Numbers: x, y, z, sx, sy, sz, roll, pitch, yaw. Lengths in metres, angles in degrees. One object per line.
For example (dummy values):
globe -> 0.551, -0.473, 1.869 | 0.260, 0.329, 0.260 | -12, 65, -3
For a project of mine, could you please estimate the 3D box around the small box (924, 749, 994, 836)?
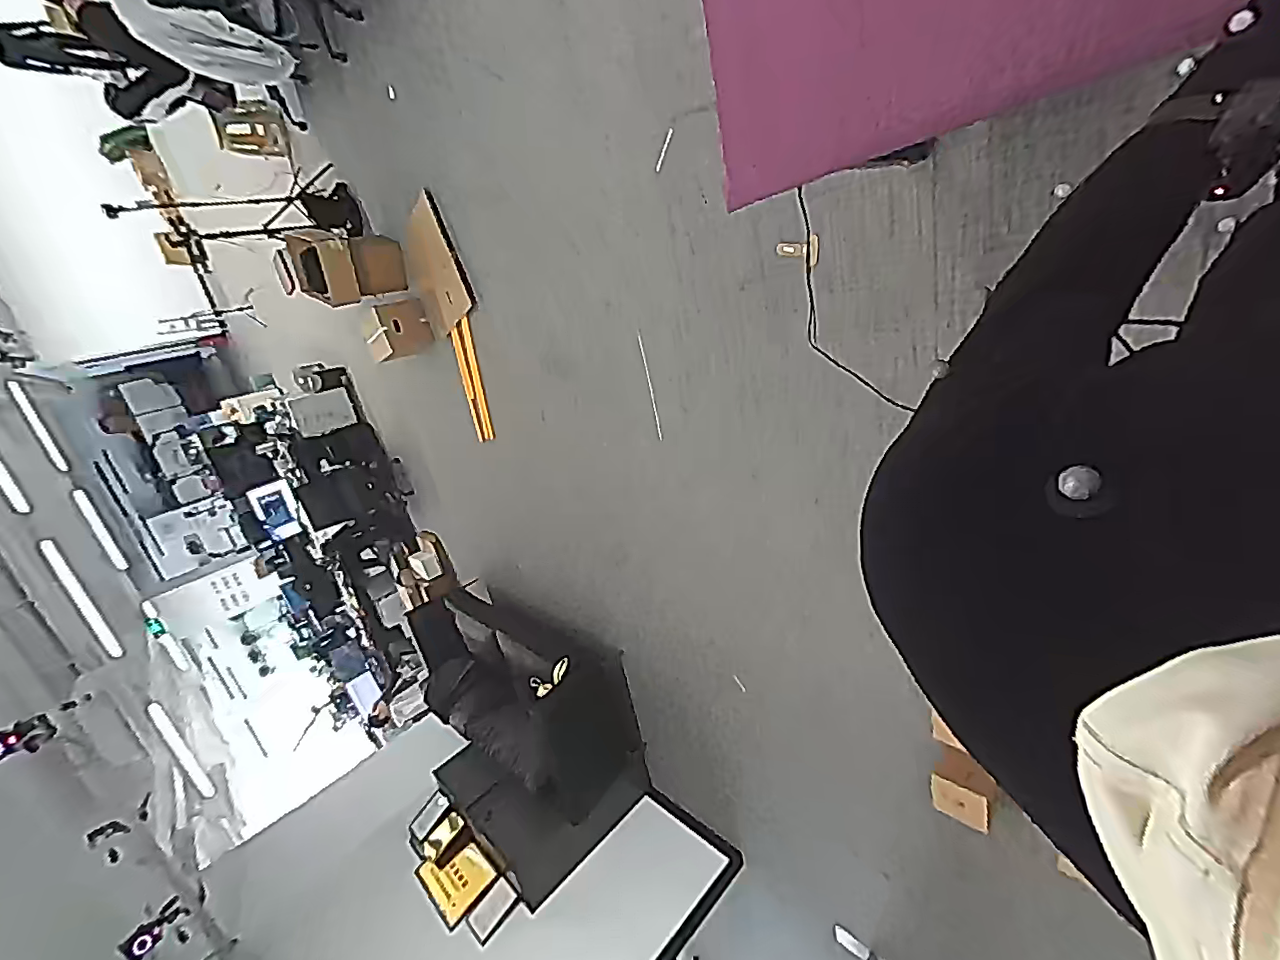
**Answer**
small box -> 1.121, 1.085, 1.897 | 0.179, 0.176, 0.168 | 10, 118, 47

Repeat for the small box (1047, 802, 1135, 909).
small box -> 1.365, 1.123, 1.638 | 0.179, 0.176, 0.168 | 10, 120, 46
